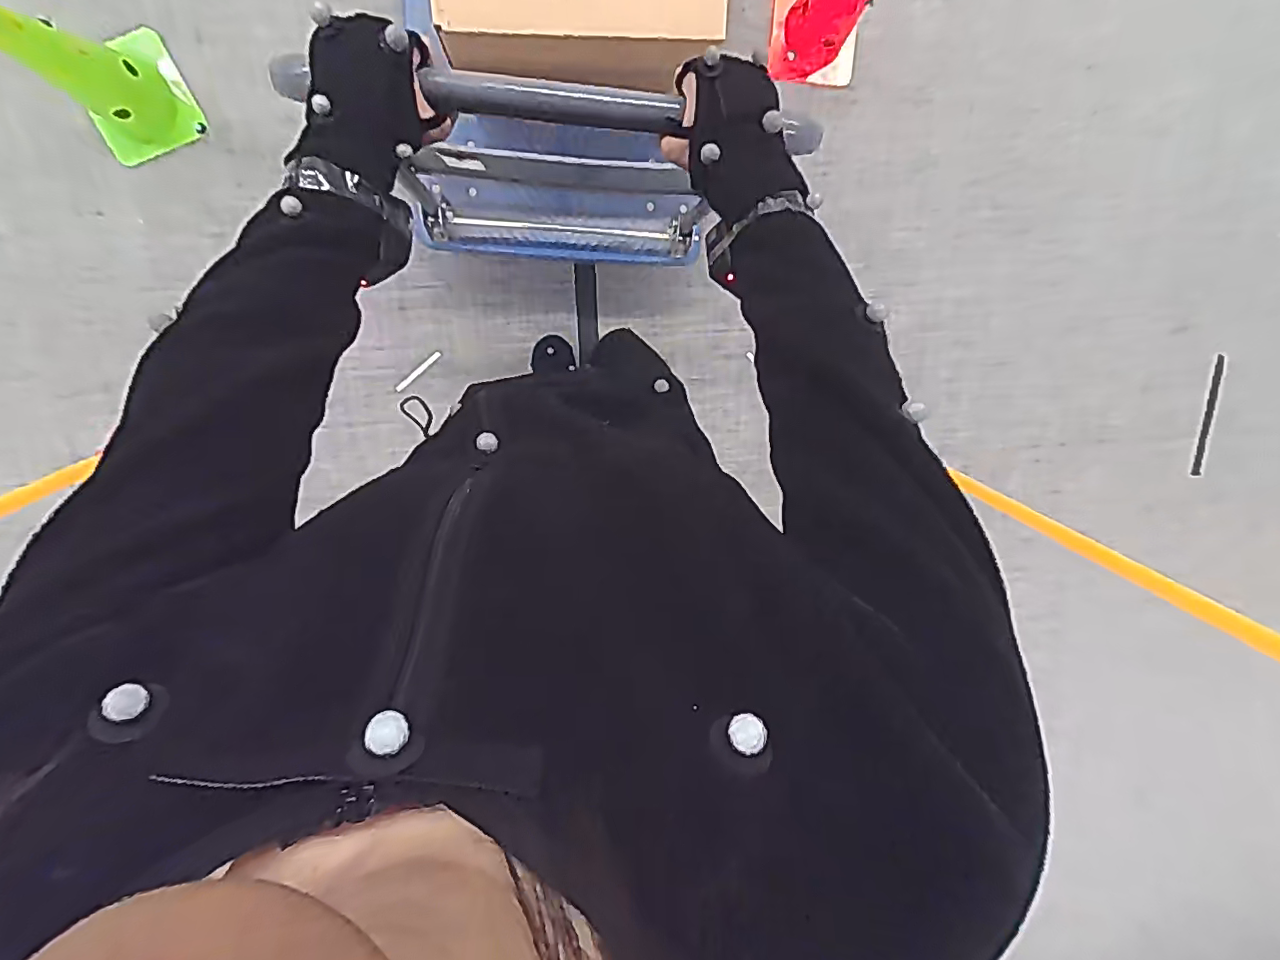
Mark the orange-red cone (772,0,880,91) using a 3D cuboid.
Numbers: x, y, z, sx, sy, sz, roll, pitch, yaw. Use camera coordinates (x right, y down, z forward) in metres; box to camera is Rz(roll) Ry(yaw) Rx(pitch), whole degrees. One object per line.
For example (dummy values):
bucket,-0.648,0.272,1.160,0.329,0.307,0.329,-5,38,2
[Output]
orange-red cone,0.424,-0.948,1.047,0.199,0.360,0.198,2,106,-9
